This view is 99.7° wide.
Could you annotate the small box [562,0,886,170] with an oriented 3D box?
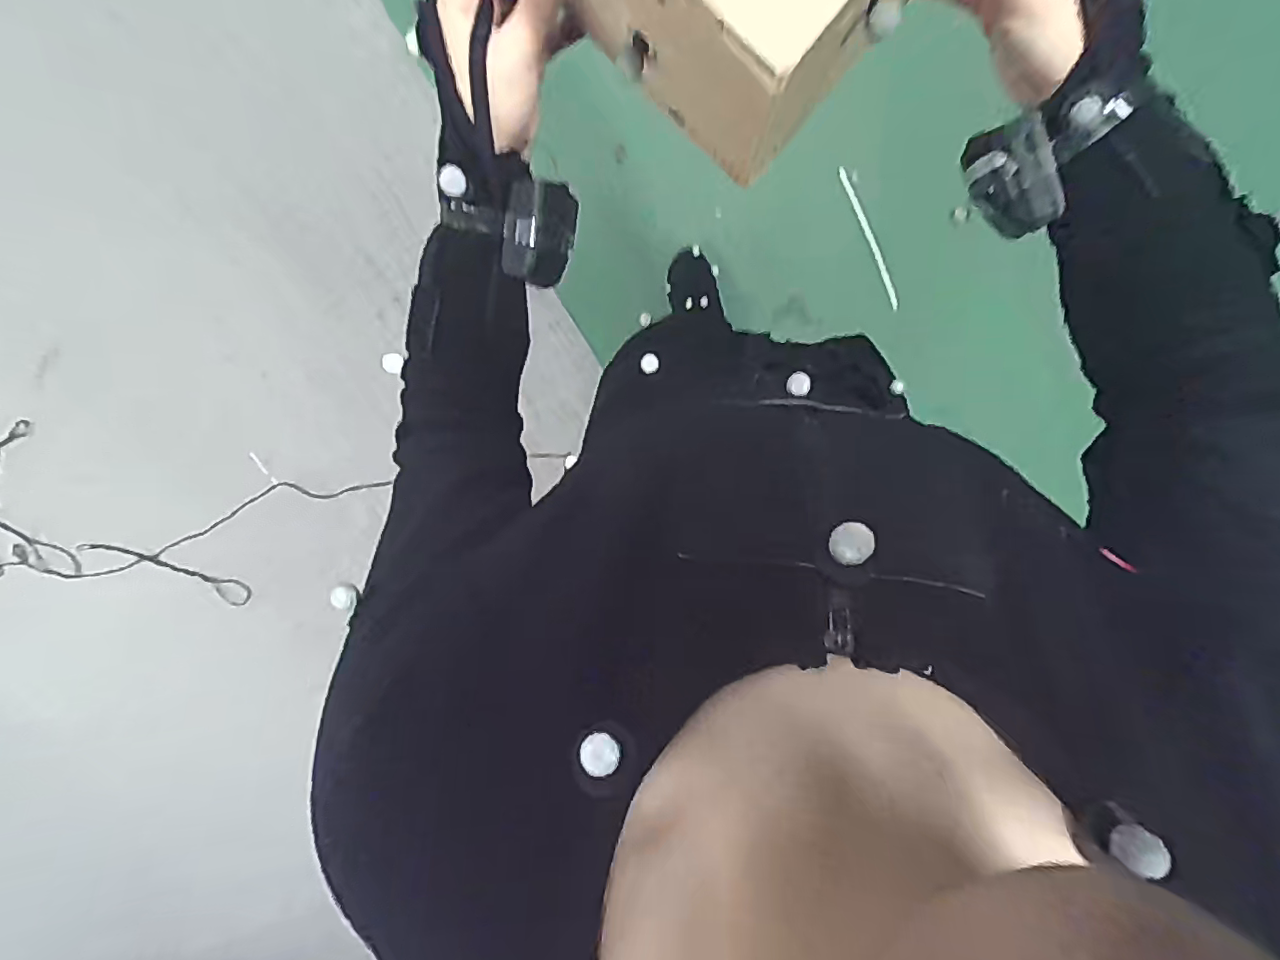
[{"bbox_3d":[0.050,-0.290,0.258,0.168,0.176,0.179,41,107,-6],"label":"small box"}]
